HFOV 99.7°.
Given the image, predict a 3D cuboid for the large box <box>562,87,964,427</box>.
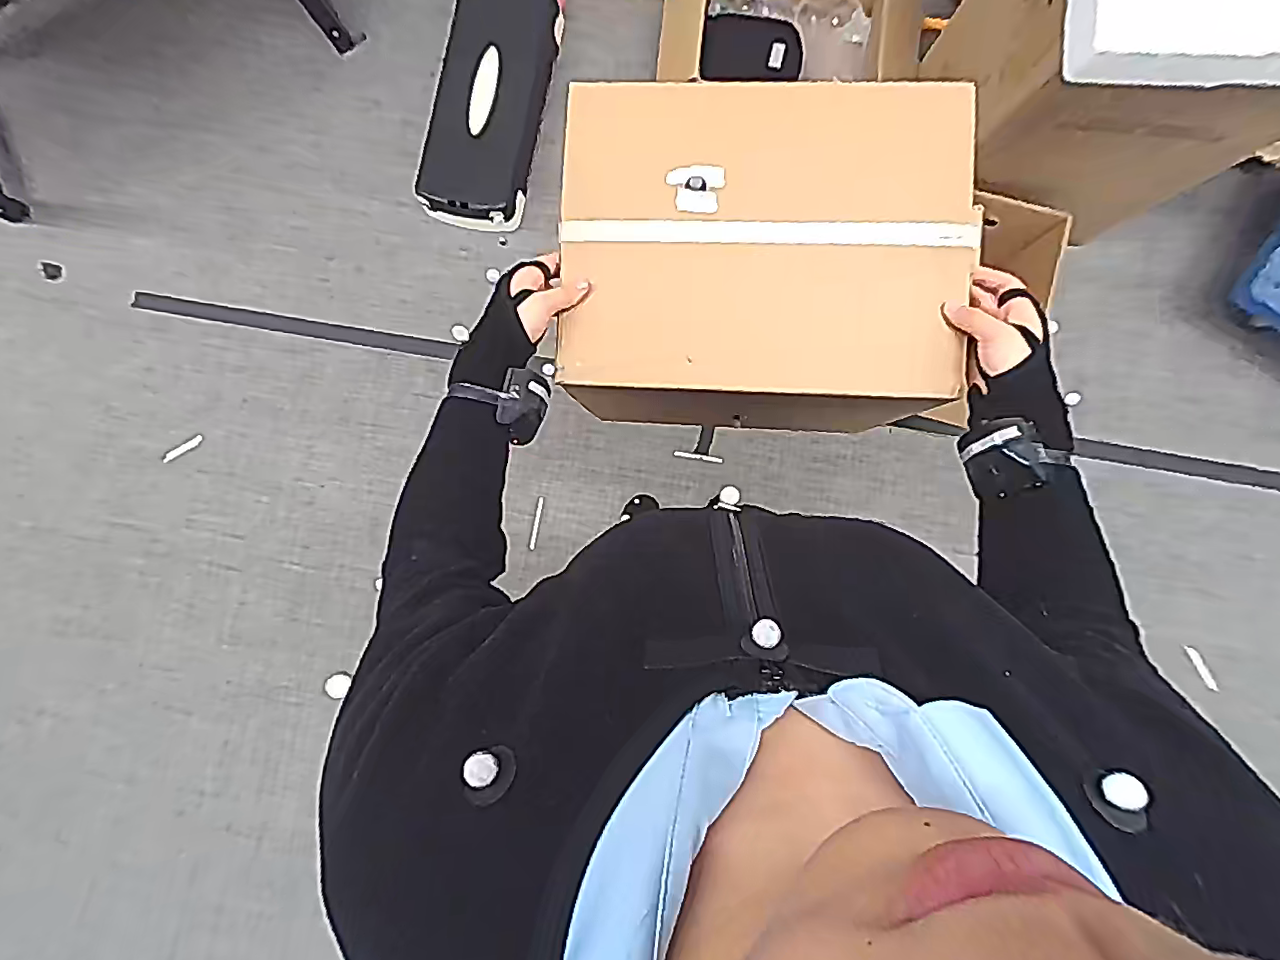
[{"bbox_3d":[0.137,-0.240,0.700,0.408,0.320,0.320,3,88,6],"label":"large box"}]
